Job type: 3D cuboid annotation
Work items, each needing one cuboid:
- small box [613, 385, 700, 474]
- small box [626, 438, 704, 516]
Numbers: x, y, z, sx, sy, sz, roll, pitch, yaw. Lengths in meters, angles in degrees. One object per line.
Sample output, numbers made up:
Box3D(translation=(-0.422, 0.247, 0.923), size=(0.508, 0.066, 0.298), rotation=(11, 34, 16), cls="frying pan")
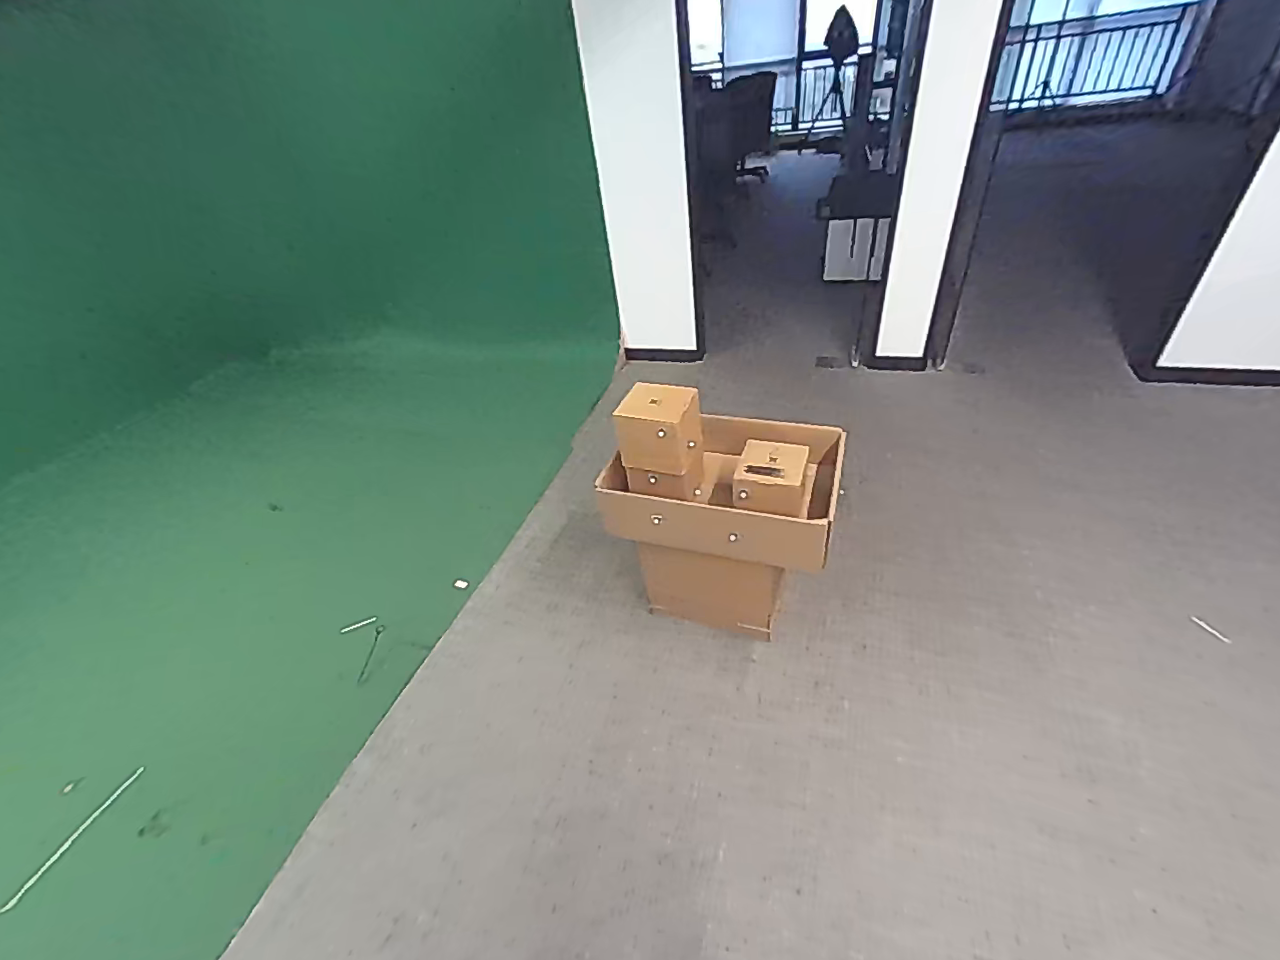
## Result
Box3D(translation=(0.050, -0.133, 1.432), size=(0.179, 0.176, 0.168), rotation=(10, 43, 21), cls="small box")
Box3D(translation=(0.076, -0.017, 1.544), size=(0.179, 0.176, 0.168), rotation=(10, 43, 21), cls="small box")
